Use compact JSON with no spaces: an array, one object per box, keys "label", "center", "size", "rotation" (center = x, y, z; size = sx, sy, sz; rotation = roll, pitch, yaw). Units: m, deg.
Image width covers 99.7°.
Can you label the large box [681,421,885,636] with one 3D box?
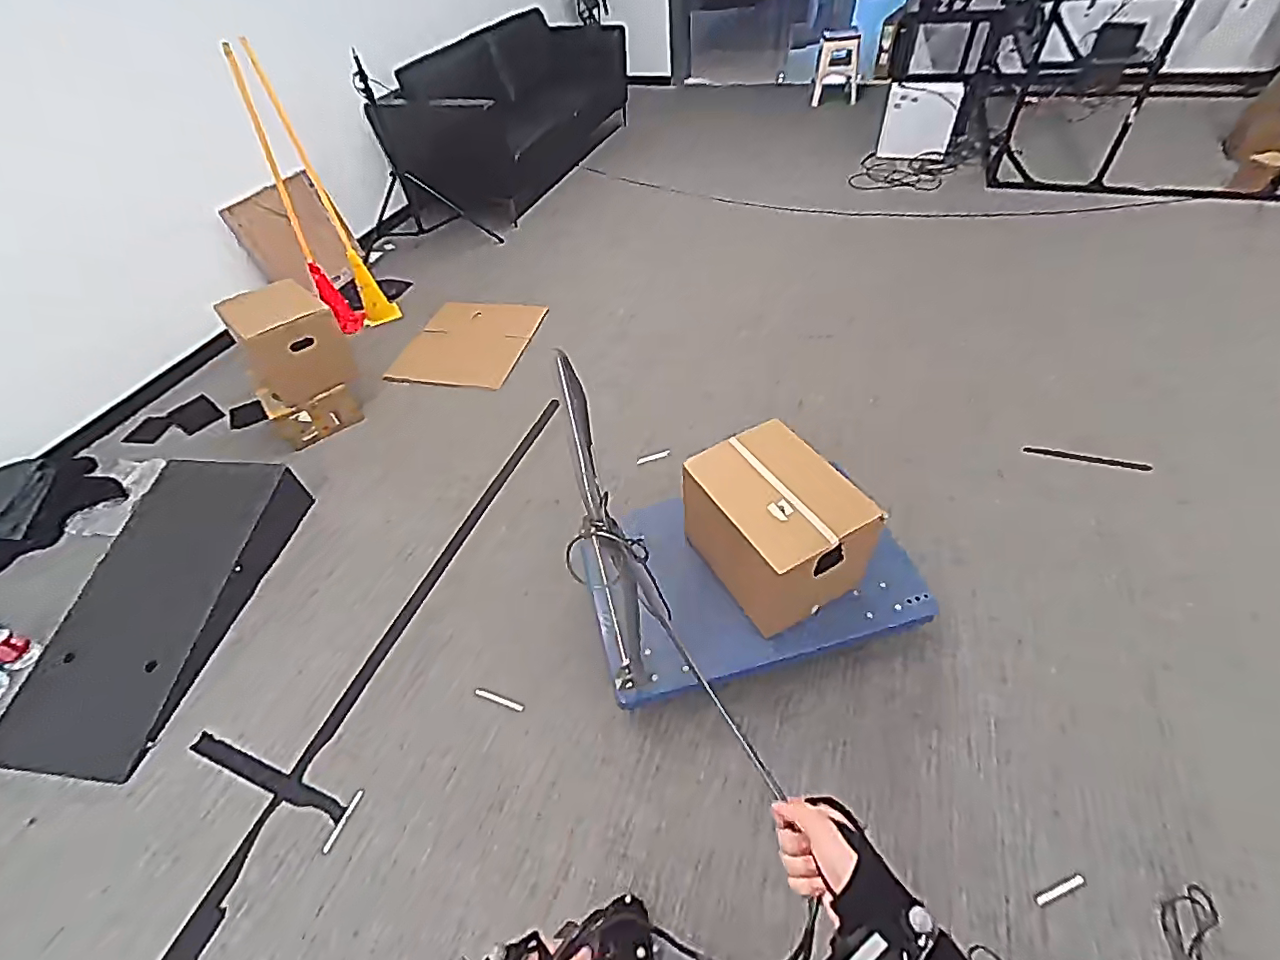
[{"label":"large box","center":[0.342,0.120,1.422],"size":[0.320,0.320,0.408],"rotation":[-26,52,-16]}]
